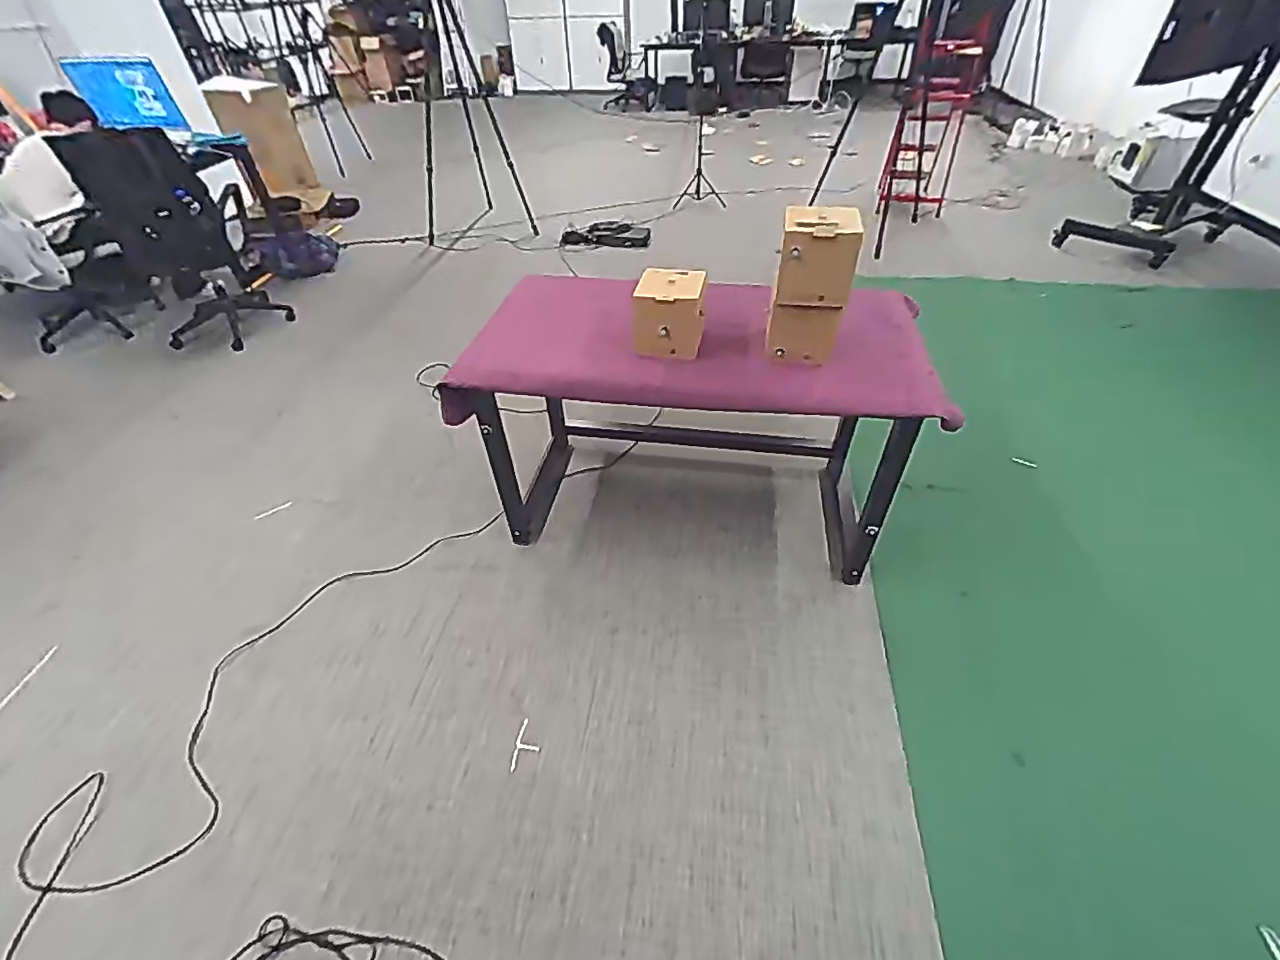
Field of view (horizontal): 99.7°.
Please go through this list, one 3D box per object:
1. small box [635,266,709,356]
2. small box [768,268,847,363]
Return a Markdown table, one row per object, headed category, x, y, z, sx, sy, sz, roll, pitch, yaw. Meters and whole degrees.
| category | x | y | z | sx | sy | sz | roll | pitch | yaw |
| --- | --- | --- | --- | --- | --- | --- | --- | --- | --- |
| small box | 0.088 | -0.445 | 1.429 | 0.168 | 0.176 | 0.179 | 8 | 45 | 10 |
| small box | 0.426 | -0.420 | 1.384 | 0.168 | 0.176 | 0.179 | 10 | 45 | 10 |
